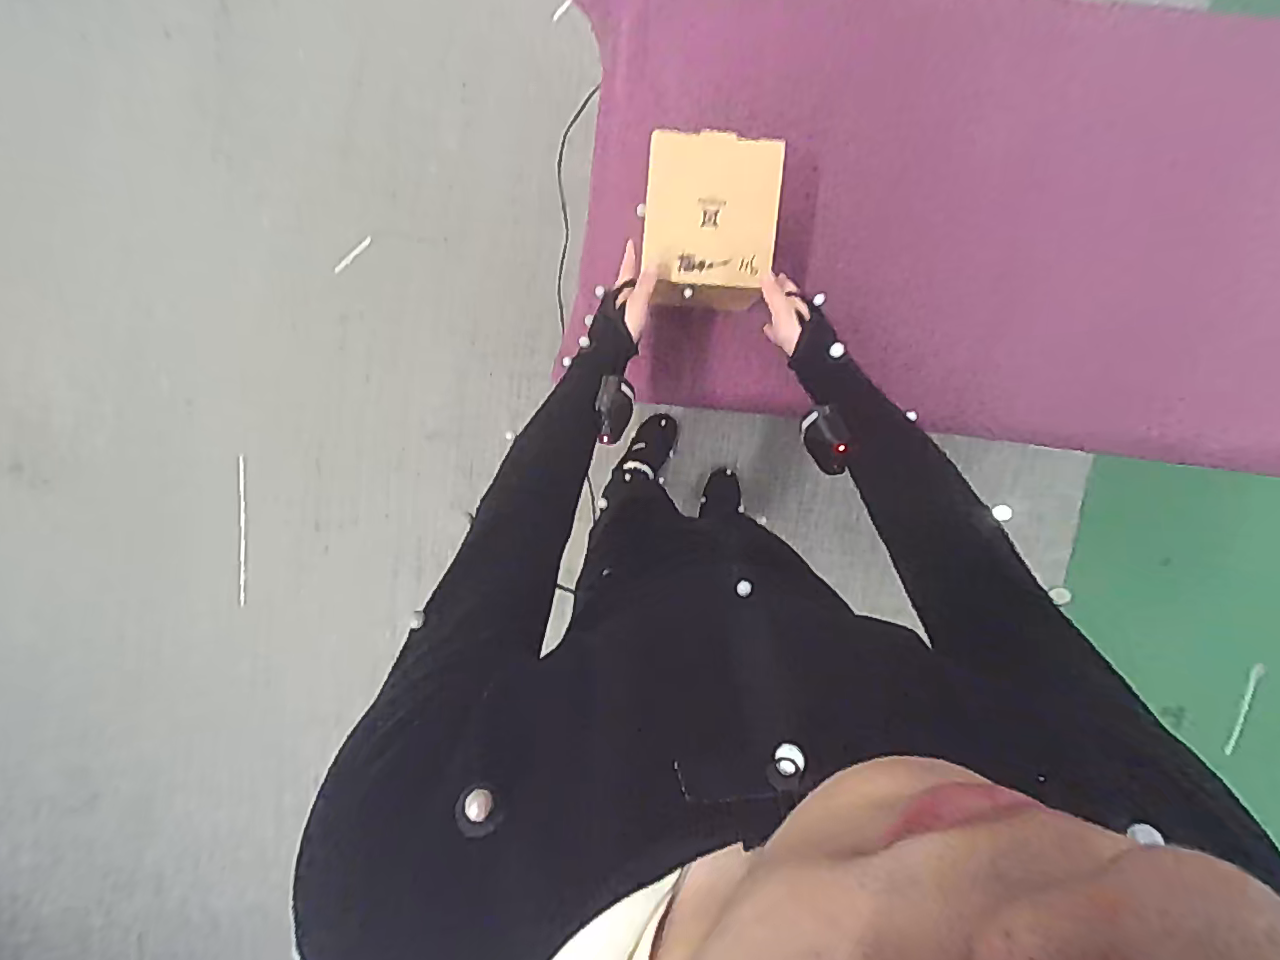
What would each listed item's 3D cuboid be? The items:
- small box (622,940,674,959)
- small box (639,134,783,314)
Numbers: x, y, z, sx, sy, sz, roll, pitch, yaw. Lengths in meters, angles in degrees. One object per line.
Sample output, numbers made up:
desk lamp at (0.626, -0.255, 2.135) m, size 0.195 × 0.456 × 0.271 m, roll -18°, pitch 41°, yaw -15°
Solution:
small box at (0.017, 1.624, 1.712) m, size 0.168 × 0.176 × 0.179 m, roll 11°, pitch 98°, yaw -1°
small box at (0.088, -0.338, 0.746) m, size 0.168 × 0.176 × 0.179 m, roll 5°, pitch 98°, yaw 1°
